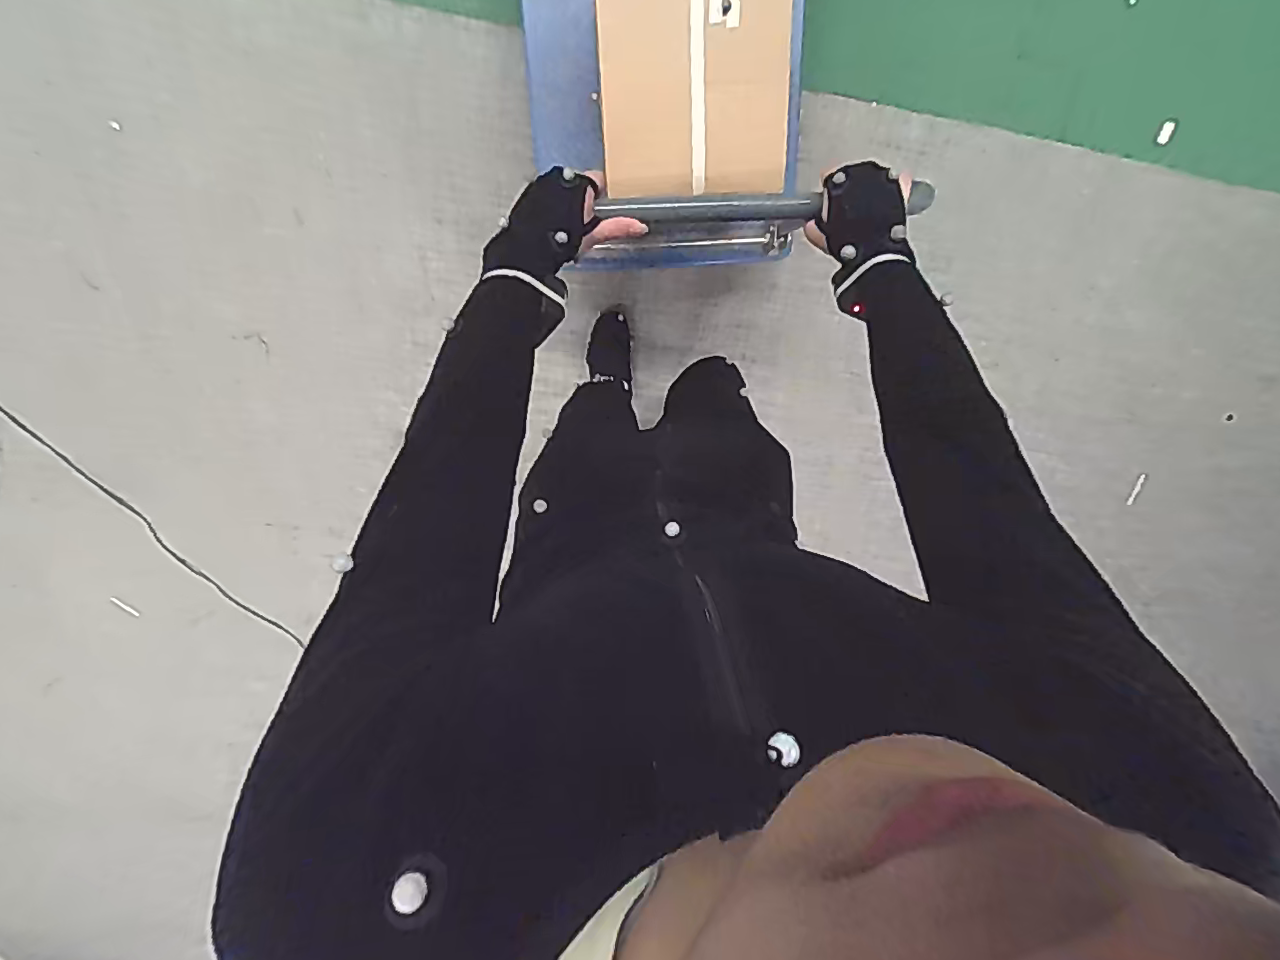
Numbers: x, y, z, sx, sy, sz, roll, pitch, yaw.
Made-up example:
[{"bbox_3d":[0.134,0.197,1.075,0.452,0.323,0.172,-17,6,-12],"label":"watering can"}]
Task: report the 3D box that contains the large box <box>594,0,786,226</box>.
[{"bbox_3d":[0.083,-0.730,1.035,0.320,0.320,0.408,-4,109,-2],"label":"large box"}]
